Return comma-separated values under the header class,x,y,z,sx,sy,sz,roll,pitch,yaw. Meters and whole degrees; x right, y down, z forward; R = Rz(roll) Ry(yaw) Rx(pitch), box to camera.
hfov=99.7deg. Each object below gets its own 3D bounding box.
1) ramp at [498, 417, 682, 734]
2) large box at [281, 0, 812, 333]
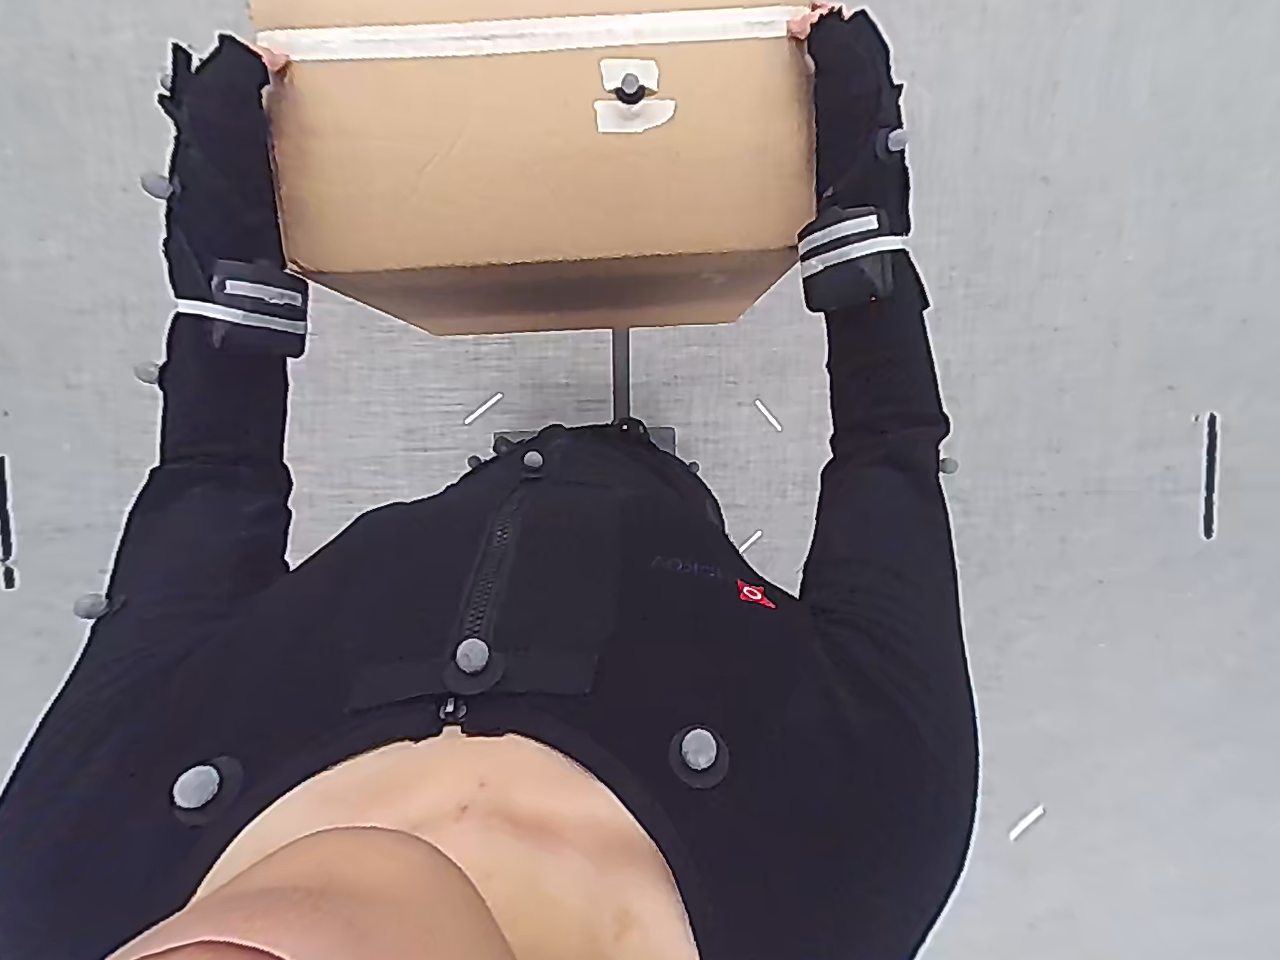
class,x,y,z,sx,sy,sz,roll,pitch,yaw
ramp,-0.123,0.316,1.595,0.509,0.206,0.991,-4,95,-2
large box,-0.076,-0.345,0.561,0.408,0.320,0.320,-3,96,-1
